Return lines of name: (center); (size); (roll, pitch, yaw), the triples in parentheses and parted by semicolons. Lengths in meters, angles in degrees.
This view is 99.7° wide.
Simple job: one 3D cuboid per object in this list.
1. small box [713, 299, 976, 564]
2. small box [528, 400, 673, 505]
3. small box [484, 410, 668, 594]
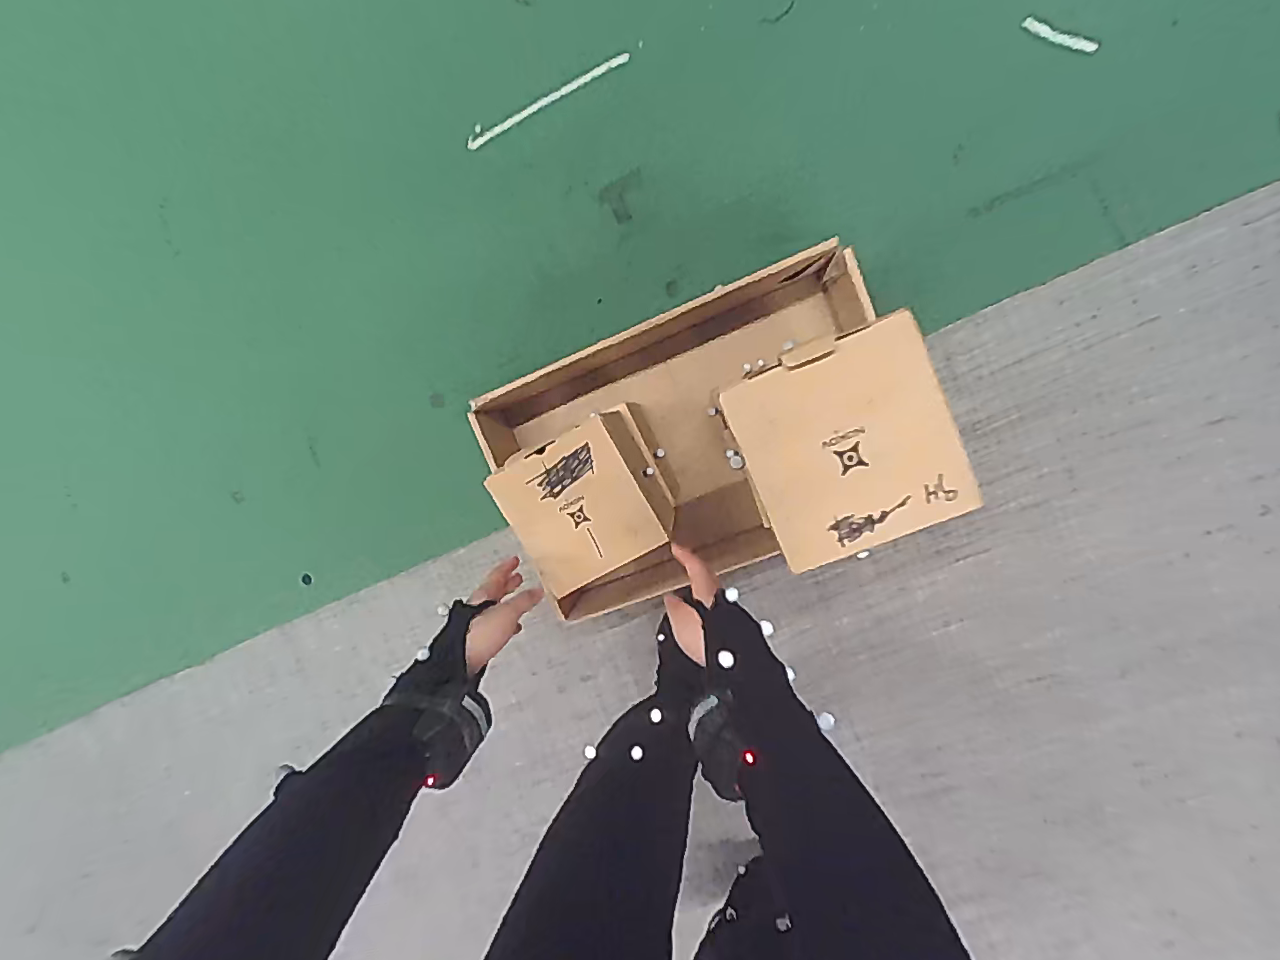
small box: (0.176, -0.045, 0.525); (0.168, 0.176, 0.179); (-23, 94, 10)
small box: (-0.056, -0.017, 0.889); (0.168, 0.176, 0.179); (-27, 95, 8)
small box: (-0.074, 0.020, 0.729); (0.168, 0.176, 0.179); (-29, 96, 9)
